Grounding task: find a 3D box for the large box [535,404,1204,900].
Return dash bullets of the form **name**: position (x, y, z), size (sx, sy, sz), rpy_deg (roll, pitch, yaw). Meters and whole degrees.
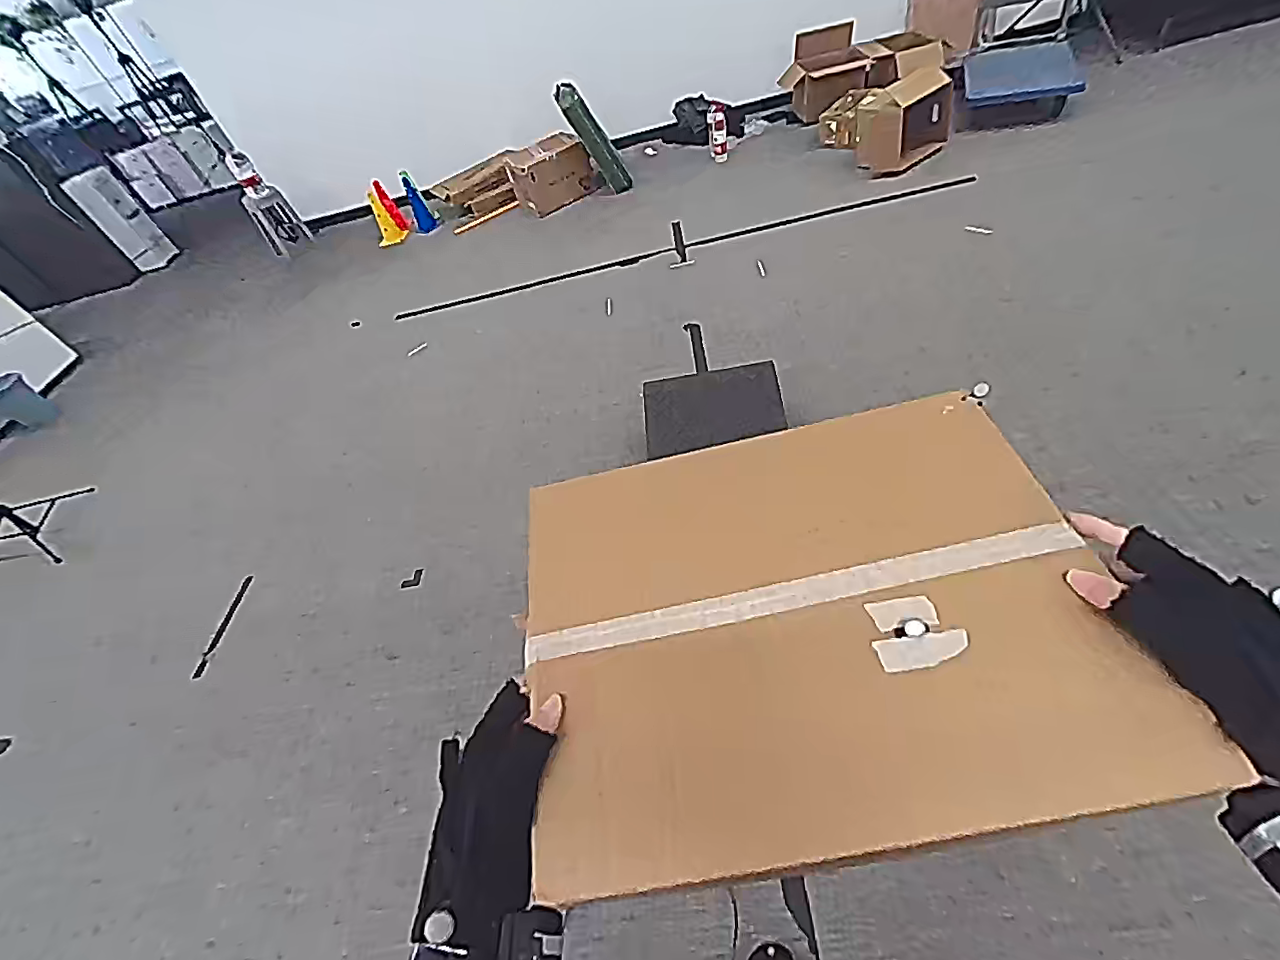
- **large box**: position (0.140, 0.181, 0.529), size (0.408, 0.320, 0.320), rpy_deg (-13, 52, 4)
